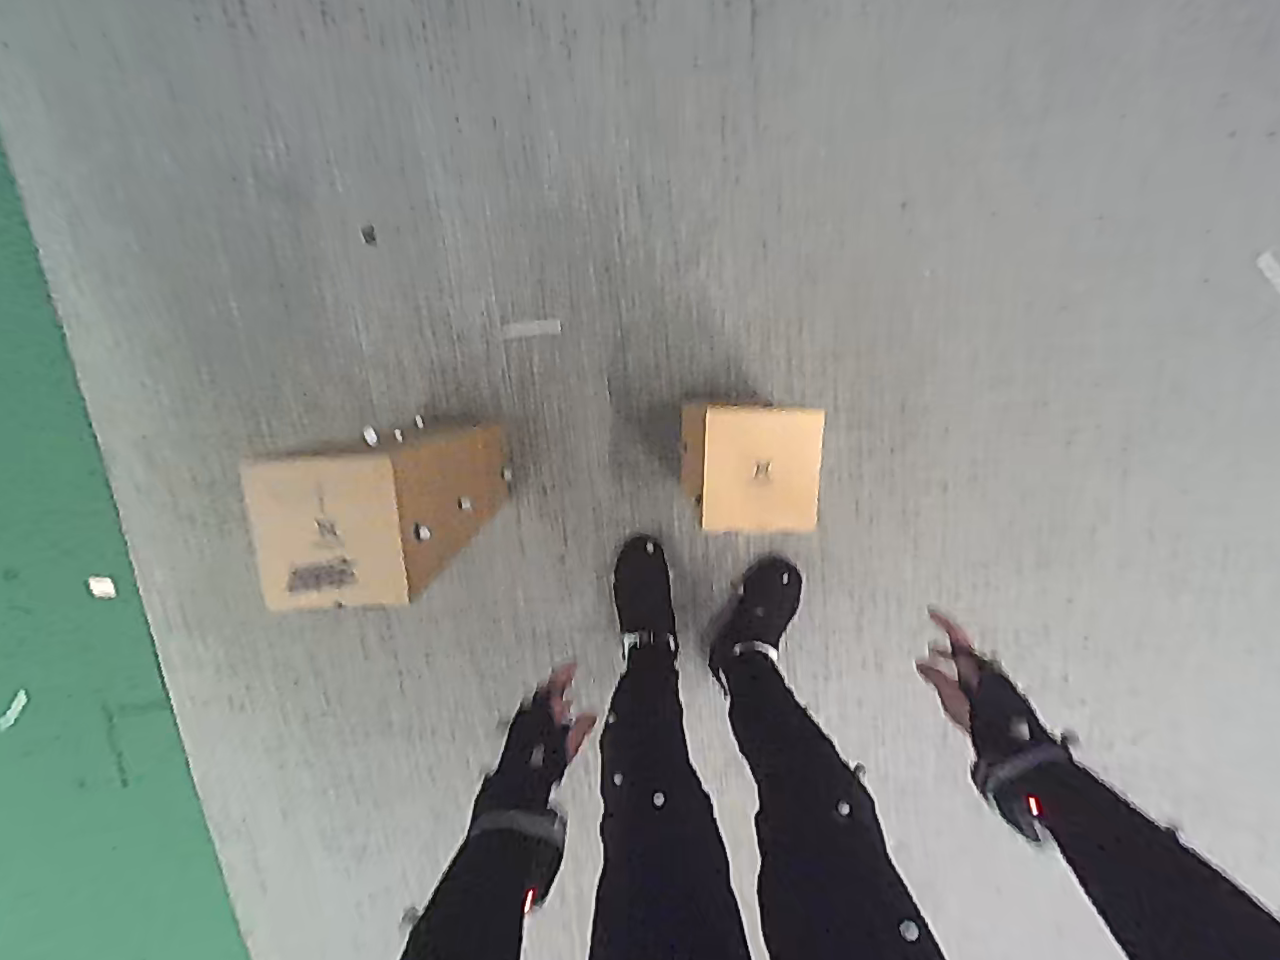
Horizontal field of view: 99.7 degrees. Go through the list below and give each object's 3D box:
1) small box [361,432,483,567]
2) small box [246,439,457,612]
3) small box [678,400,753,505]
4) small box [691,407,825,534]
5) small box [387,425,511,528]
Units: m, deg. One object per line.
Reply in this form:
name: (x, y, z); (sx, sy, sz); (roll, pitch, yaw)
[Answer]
small box: (-0.351, 0.024, 0.840); (0.168, 0.176, 0.179); (-1, 103, 0)
small box: (-0.340, 0.048, 0.677); (0.168, 0.176, 0.179); (-2, 101, 0)
small box: (0.162, -0.050, 0.994); (0.168, 0.176, 0.179); (6, 102, 0)
small box: (0.171, -0.022, 0.836); (0.168, 0.176, 0.179); (0, 102, -1)
small box: (-0.348, -0.012, 0.999); (0.179, 0.176, 0.168); (-1, 102, -1)
